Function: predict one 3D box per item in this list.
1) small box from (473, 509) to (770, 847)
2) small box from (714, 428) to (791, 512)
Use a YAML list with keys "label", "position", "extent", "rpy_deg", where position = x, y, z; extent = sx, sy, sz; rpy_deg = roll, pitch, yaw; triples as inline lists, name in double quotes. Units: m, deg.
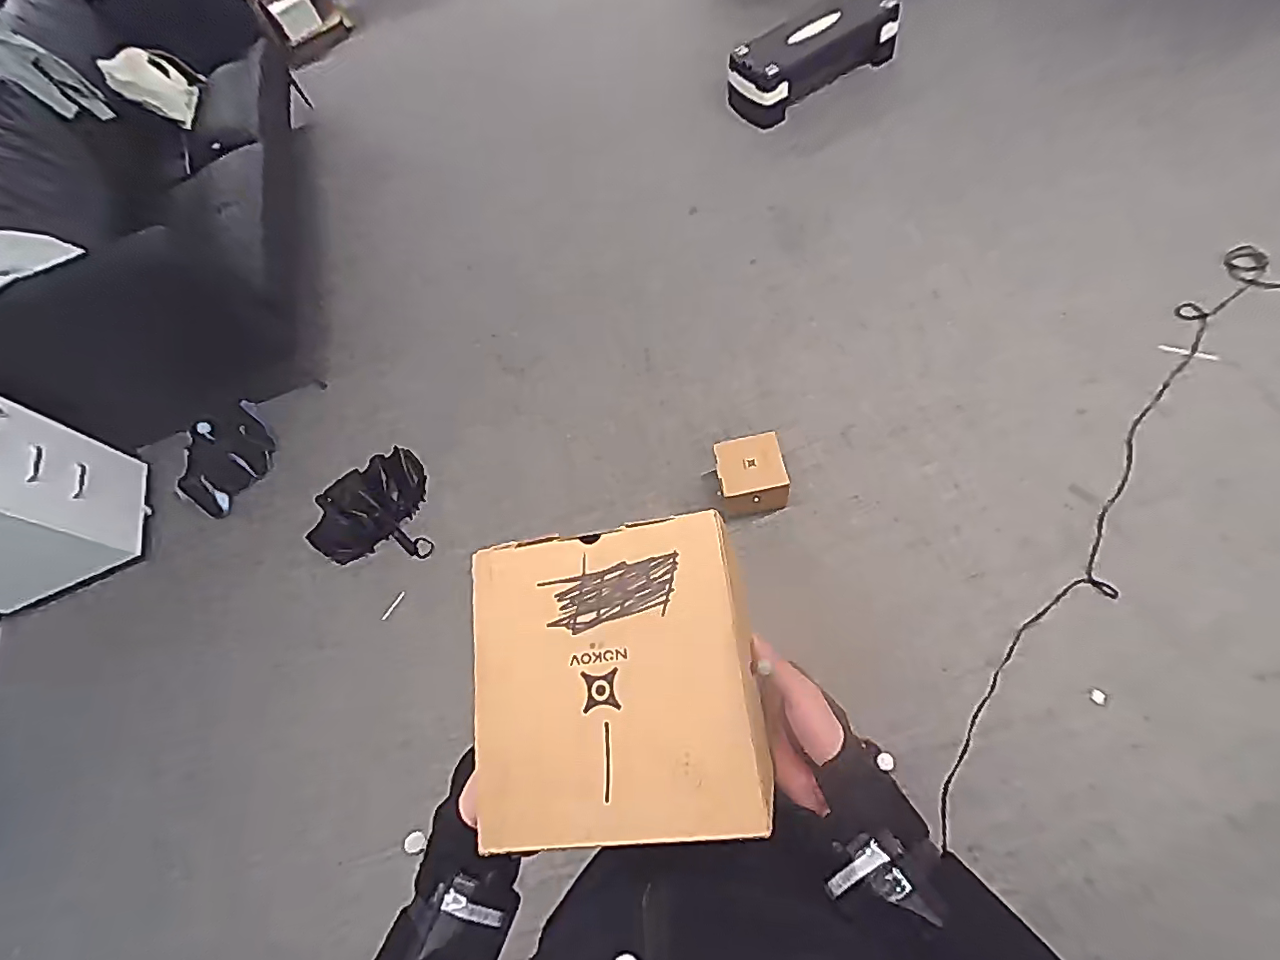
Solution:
- label: "small box"
  position: [-0.004, 0.135, 0.391]
  extent: [0.168, 0.176, 0.179]
  rpy_deg: [-11, 72, 12]
- label: "small box"
  position: [0.317, -0.022, 1.529]
  extent: [0.179, 0.176, 0.168]
  rpy_deg: [-12, 65, 6]
